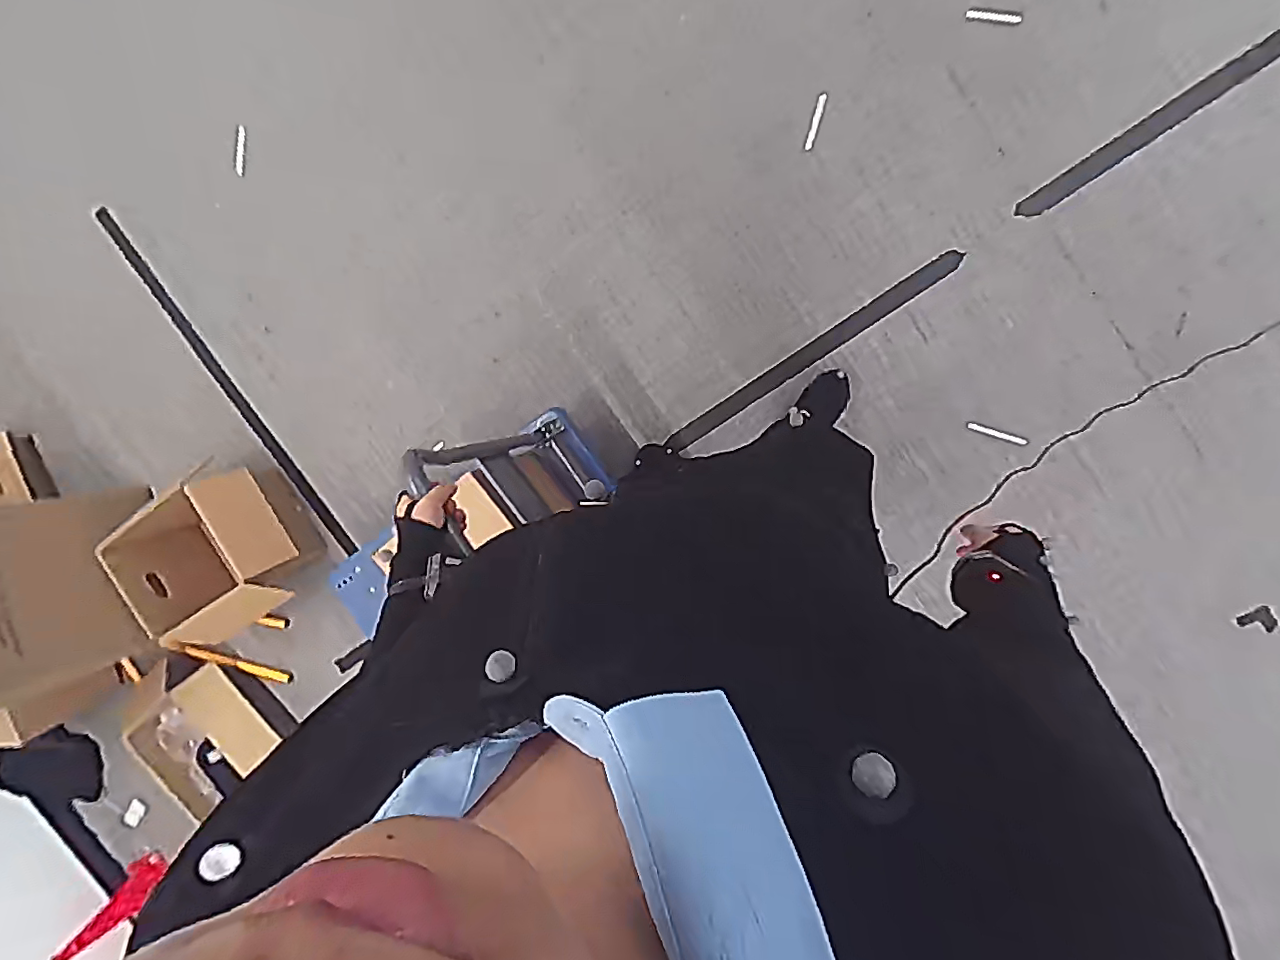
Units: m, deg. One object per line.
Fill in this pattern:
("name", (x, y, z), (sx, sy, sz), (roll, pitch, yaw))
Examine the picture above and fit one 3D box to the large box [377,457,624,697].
("large box", (-0.303, 0.206, 1.272), (0.320, 0.320, 0.408), (-38, 91, 15))
